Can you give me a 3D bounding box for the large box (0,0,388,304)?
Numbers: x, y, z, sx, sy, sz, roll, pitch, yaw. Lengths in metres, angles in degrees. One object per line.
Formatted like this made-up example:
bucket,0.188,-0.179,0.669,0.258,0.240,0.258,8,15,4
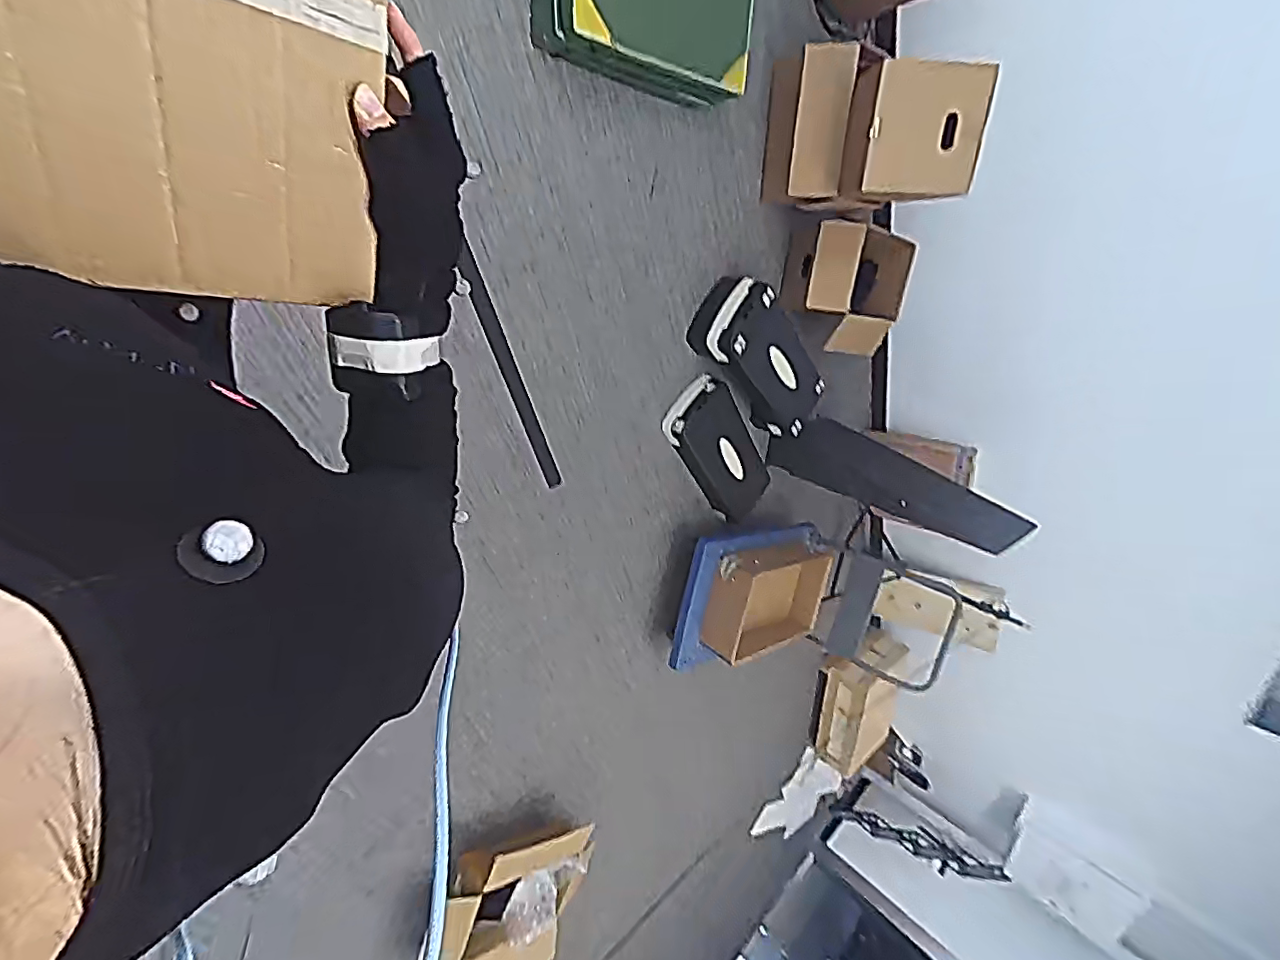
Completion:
large box,-0.384,-0.312,0.279,0.408,0.320,0.320,-8,132,-38
